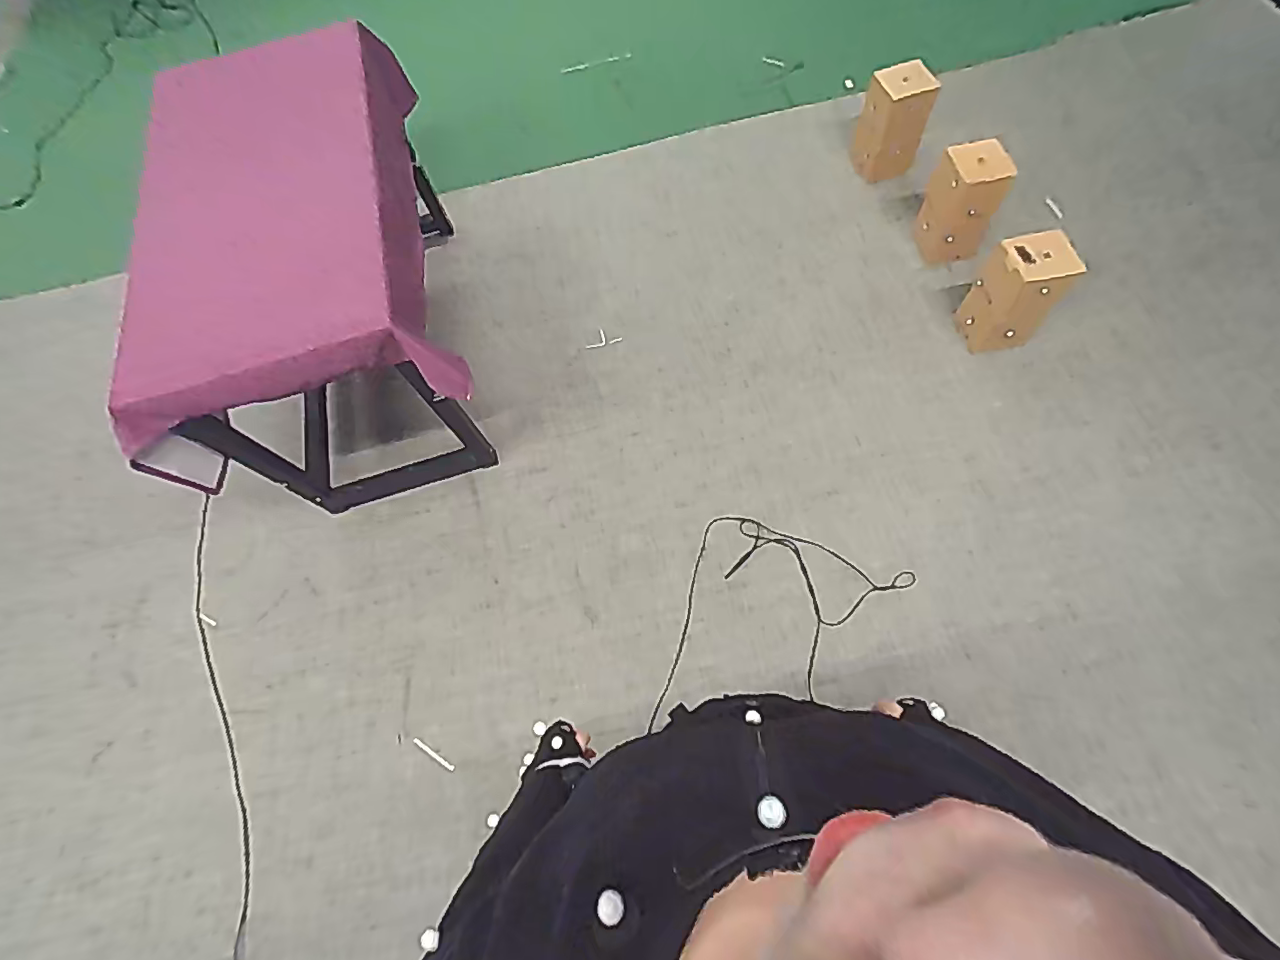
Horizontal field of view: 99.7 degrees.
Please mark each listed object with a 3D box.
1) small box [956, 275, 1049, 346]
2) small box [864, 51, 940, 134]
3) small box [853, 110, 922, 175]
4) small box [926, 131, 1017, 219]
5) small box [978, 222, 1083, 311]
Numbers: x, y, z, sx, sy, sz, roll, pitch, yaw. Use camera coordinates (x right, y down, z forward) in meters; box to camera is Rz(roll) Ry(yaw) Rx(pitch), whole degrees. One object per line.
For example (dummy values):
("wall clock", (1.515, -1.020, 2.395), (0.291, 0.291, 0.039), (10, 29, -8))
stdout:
("small box", (1.155, -0.557, 1.745), (0.179, 0.176, 0.168), (-12, 67, 1))
("small box", (0.924, -1.379, 1.933), (0.179, 0.176, 0.168), (-16, 68, -1))
("small box", (0.942, -1.315, 2.084), (0.179, 0.176, 0.168), (-15, 67, -1))
("small box", (1.065, -0.987, 1.755), (0.168, 0.176, 0.179), (-10, 67, 1))
("small box", (1.134, -0.621, 1.594), (0.179, 0.176, 0.168), (-10, 67, 1))
